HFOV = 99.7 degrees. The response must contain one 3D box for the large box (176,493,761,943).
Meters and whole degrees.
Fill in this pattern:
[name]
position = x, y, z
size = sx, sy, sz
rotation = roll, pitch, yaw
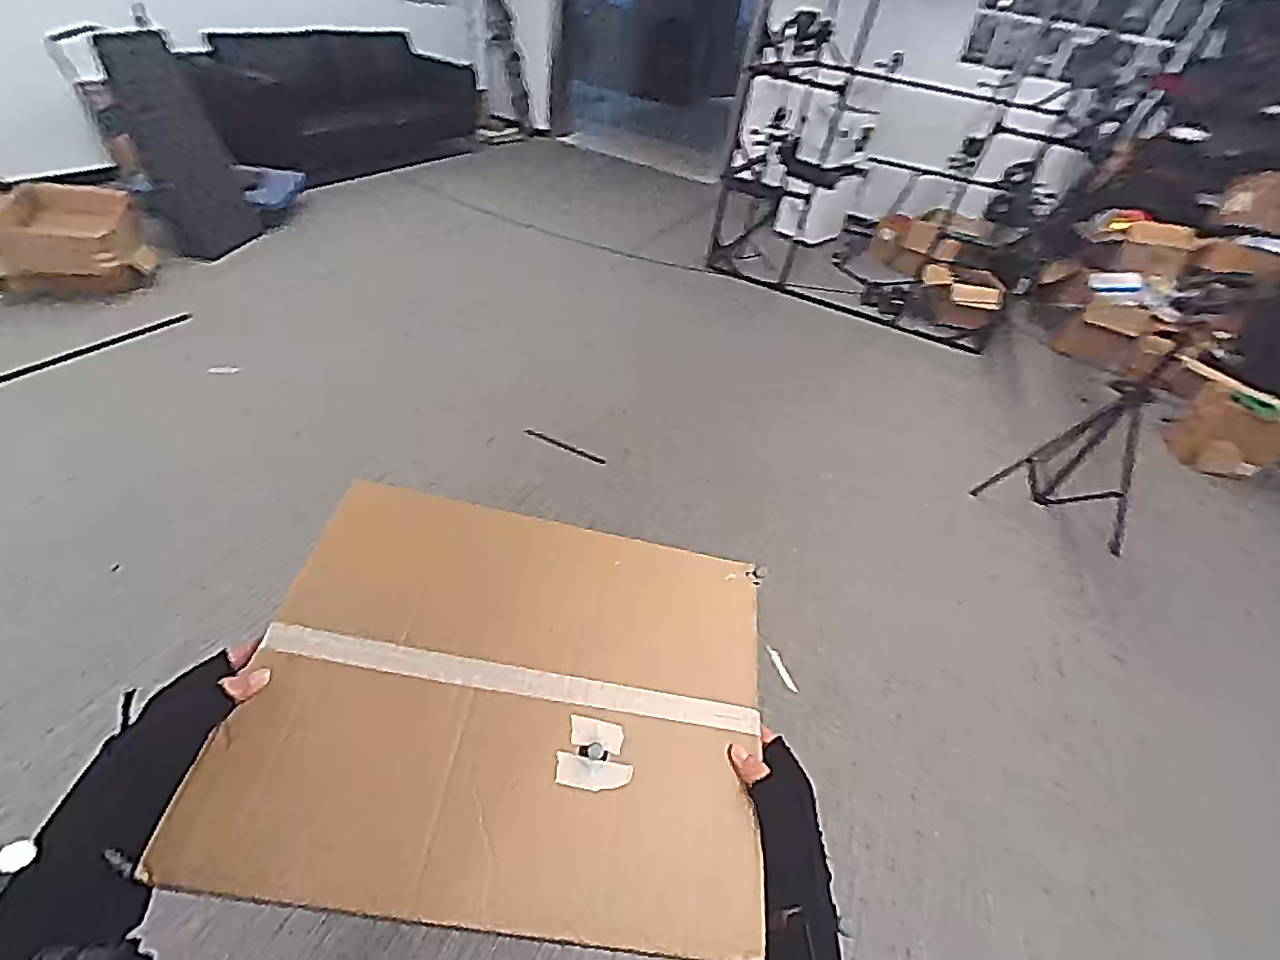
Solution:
[large box]
position = -0.125, 0.258, 0.572
size = 0.408, 0.320, 0.320
rotation = 13, 52, -6
